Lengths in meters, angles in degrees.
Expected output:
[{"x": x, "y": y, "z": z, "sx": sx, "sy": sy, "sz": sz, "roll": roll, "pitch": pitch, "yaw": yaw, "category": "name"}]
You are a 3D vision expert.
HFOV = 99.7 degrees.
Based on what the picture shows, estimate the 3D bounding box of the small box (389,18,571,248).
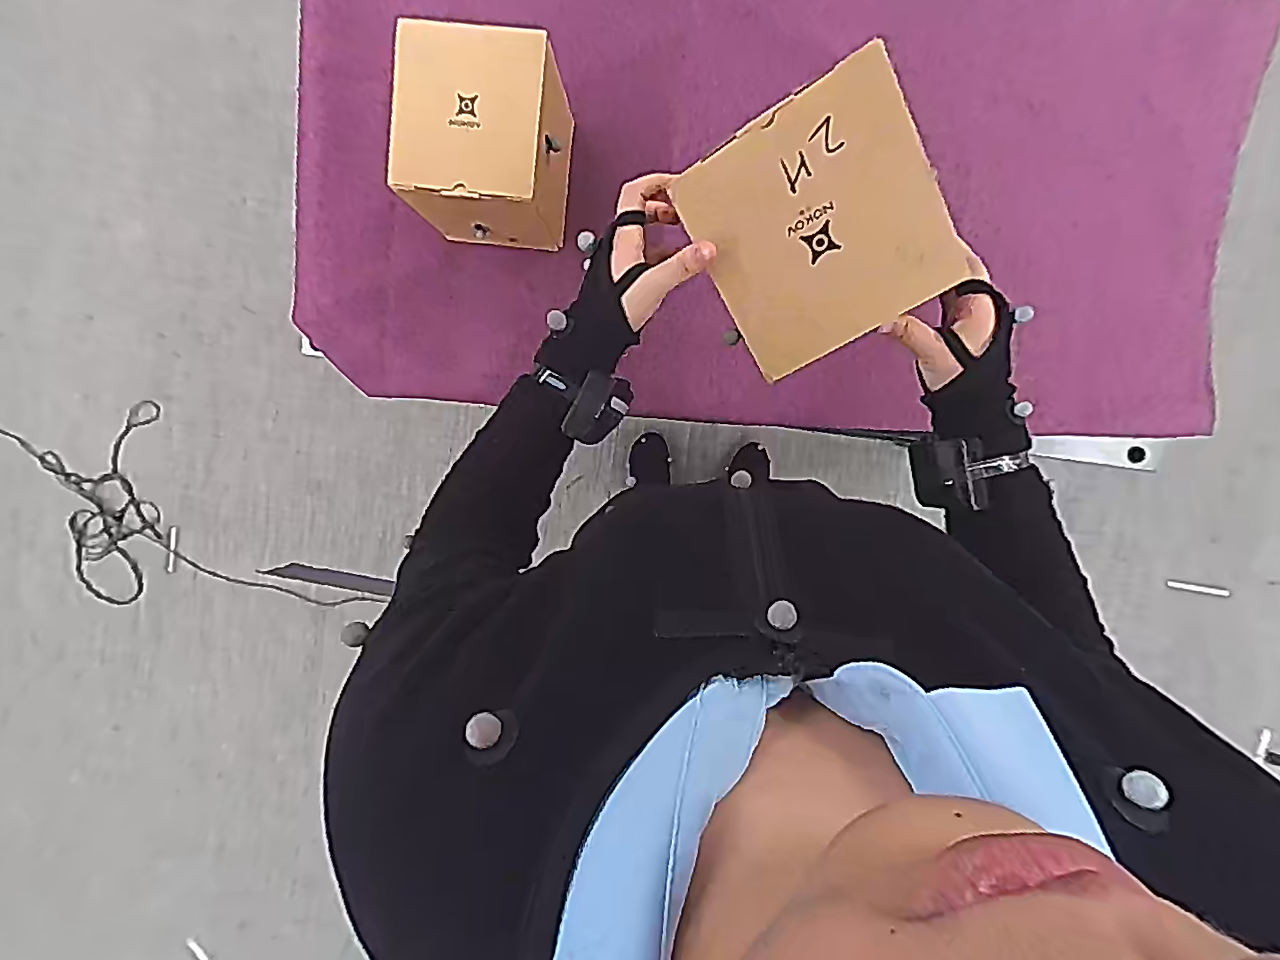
[{"x": -0.183, "y": -0.408, "z": 0.664, "sx": 0.168, "sy": 0.176, "sz": 0.179, "roll": 6, "pitch": 97, "yaw": 2, "category": "small box"}]
